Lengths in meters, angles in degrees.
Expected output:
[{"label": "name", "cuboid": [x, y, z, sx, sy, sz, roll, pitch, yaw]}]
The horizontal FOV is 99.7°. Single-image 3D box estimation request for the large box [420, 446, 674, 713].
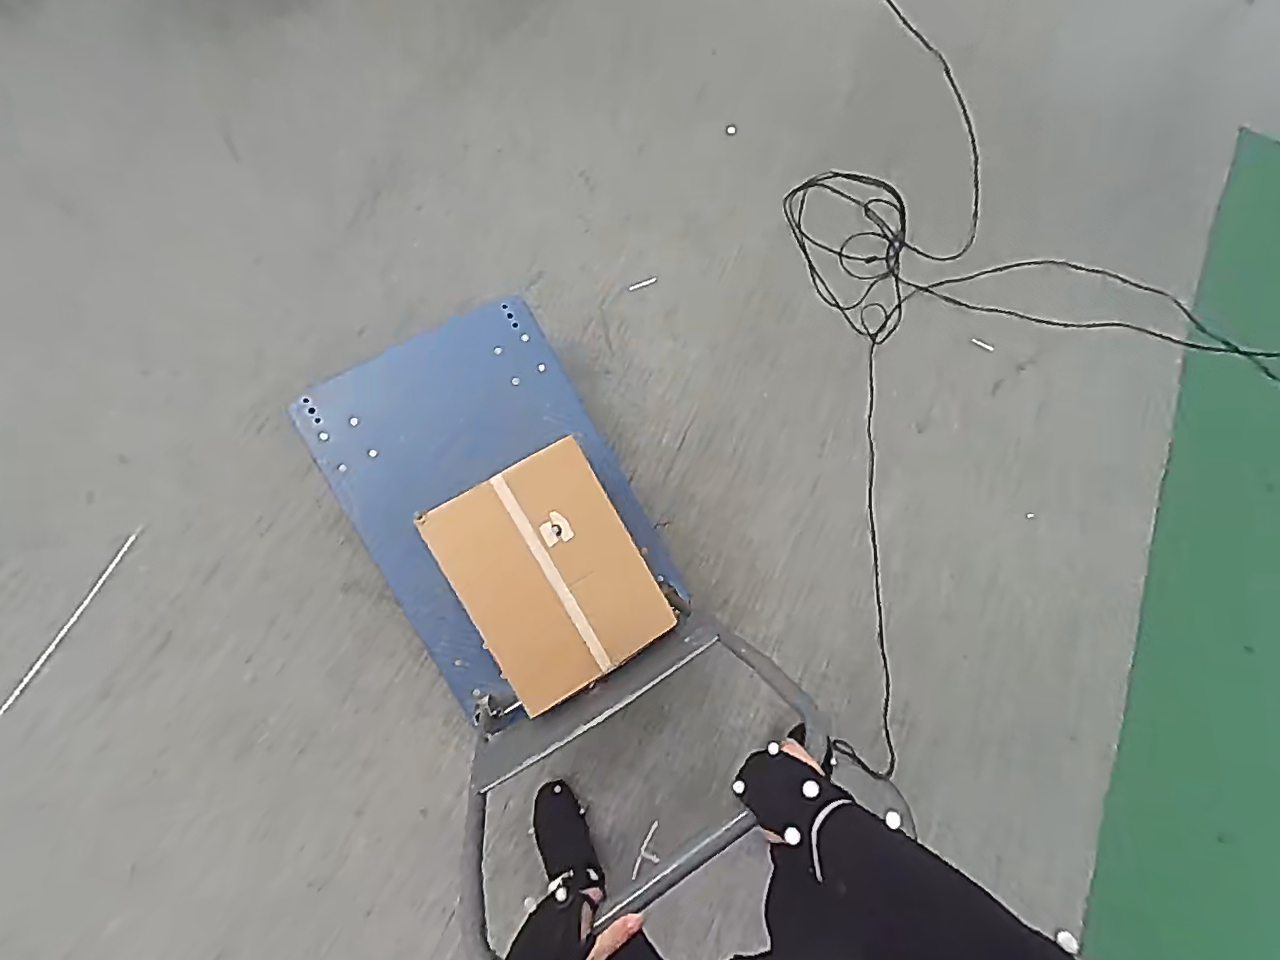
[{"label": "large box", "cuboid": [-0.186, 0.187, 1.134, 0.320, 0.320, 0.408, -31, 92, -11]}]
